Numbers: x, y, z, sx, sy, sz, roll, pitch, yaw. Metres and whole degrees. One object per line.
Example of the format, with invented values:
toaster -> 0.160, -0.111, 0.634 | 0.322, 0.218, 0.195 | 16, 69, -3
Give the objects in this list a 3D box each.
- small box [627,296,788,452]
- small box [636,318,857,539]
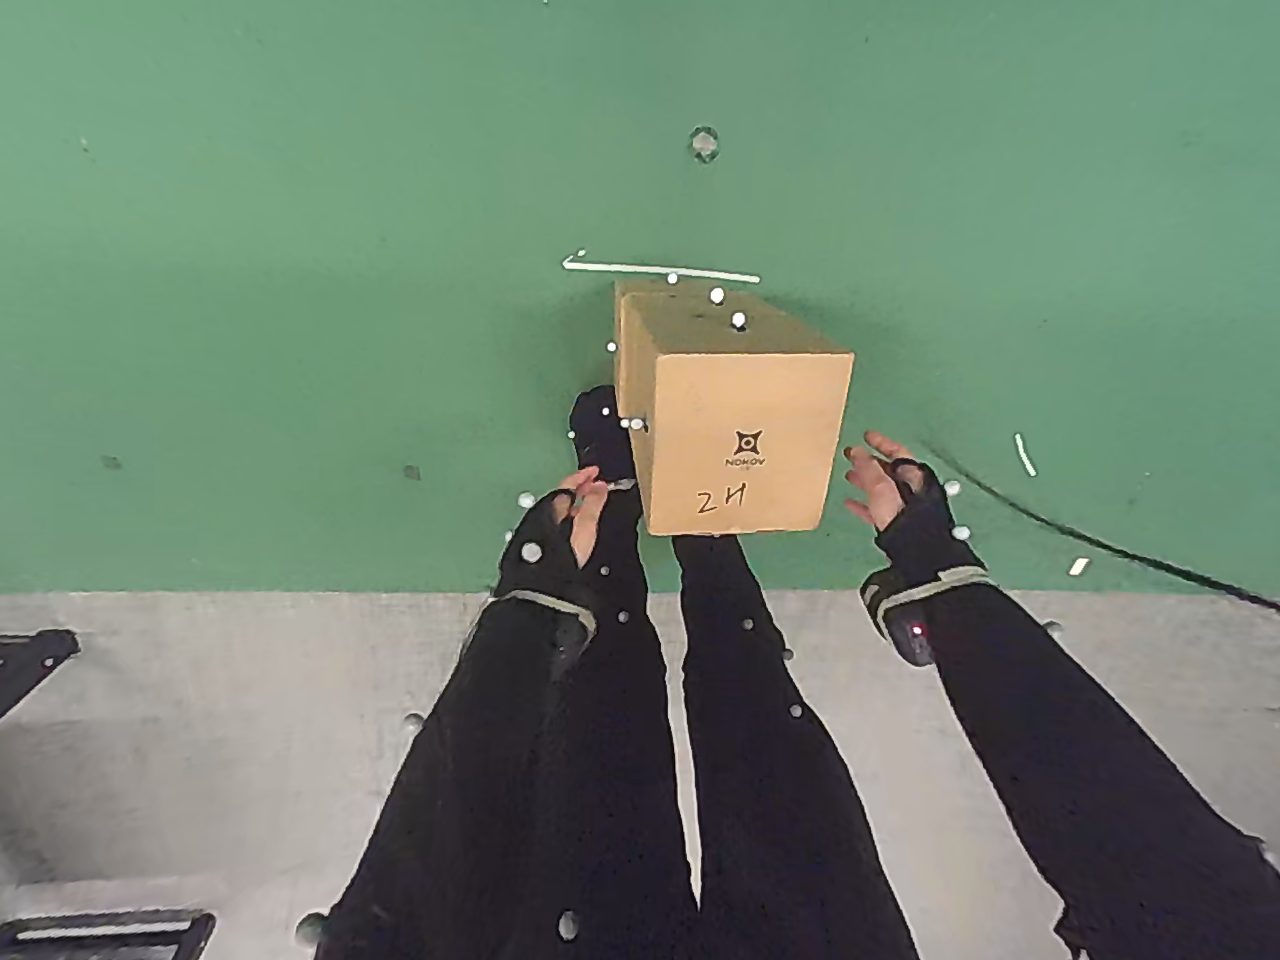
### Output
small box -> 0.071, -0.134, 0.687 | 0.168, 0.176, 0.179 | -1, 118, -5
small box -> 0.086, -0.060, 0.540 | 0.168, 0.176, 0.179 | 0, 118, -5
